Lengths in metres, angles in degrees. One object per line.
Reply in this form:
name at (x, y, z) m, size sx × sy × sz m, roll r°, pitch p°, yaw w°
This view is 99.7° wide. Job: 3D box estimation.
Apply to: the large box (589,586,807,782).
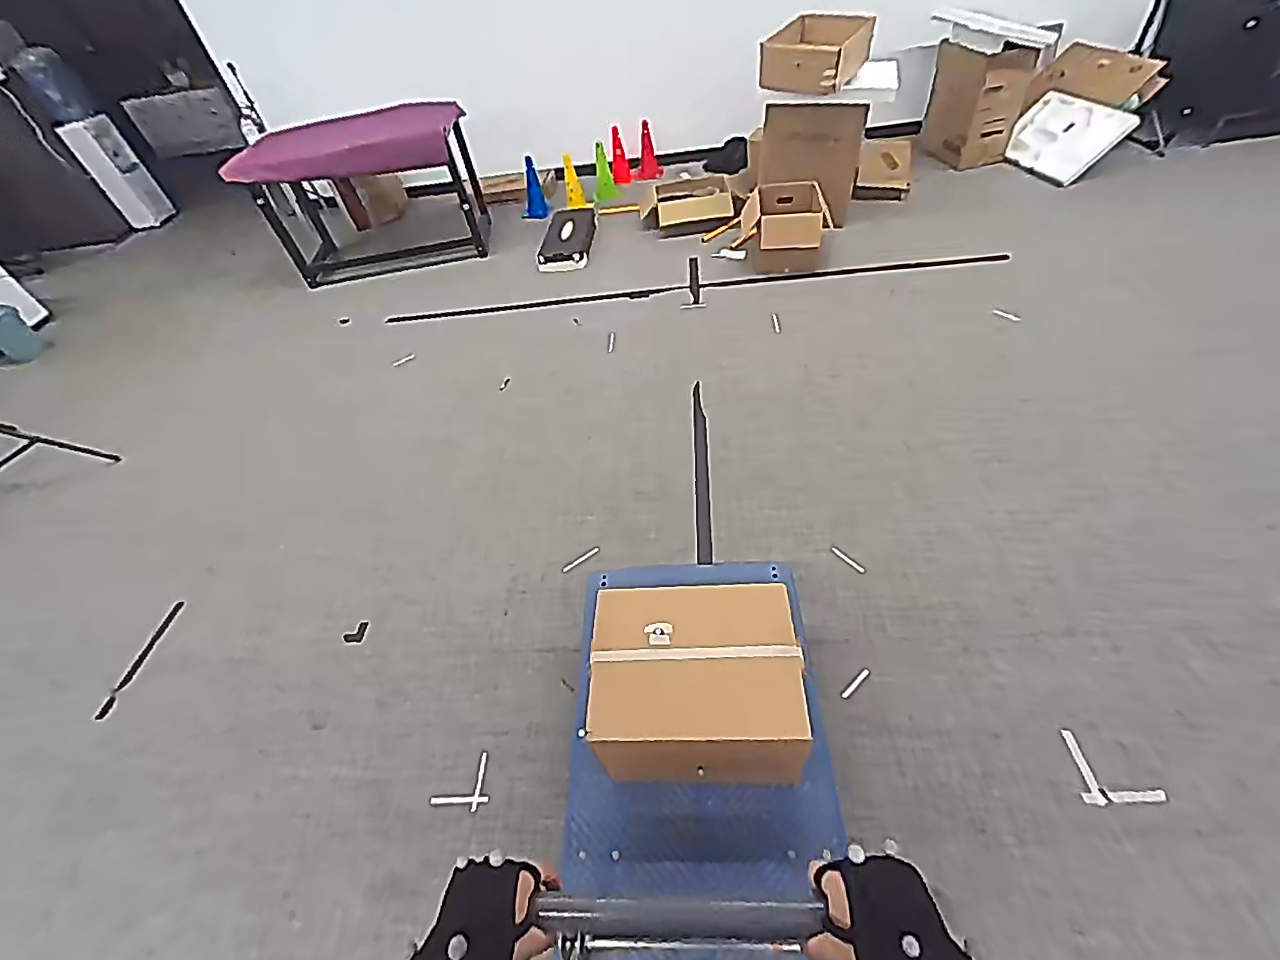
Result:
large box at (0.125, 0.456, 1.189) m, size 0.408 × 0.320 × 0.320 m, roll -5°, pitch 47°, yaw 7°
